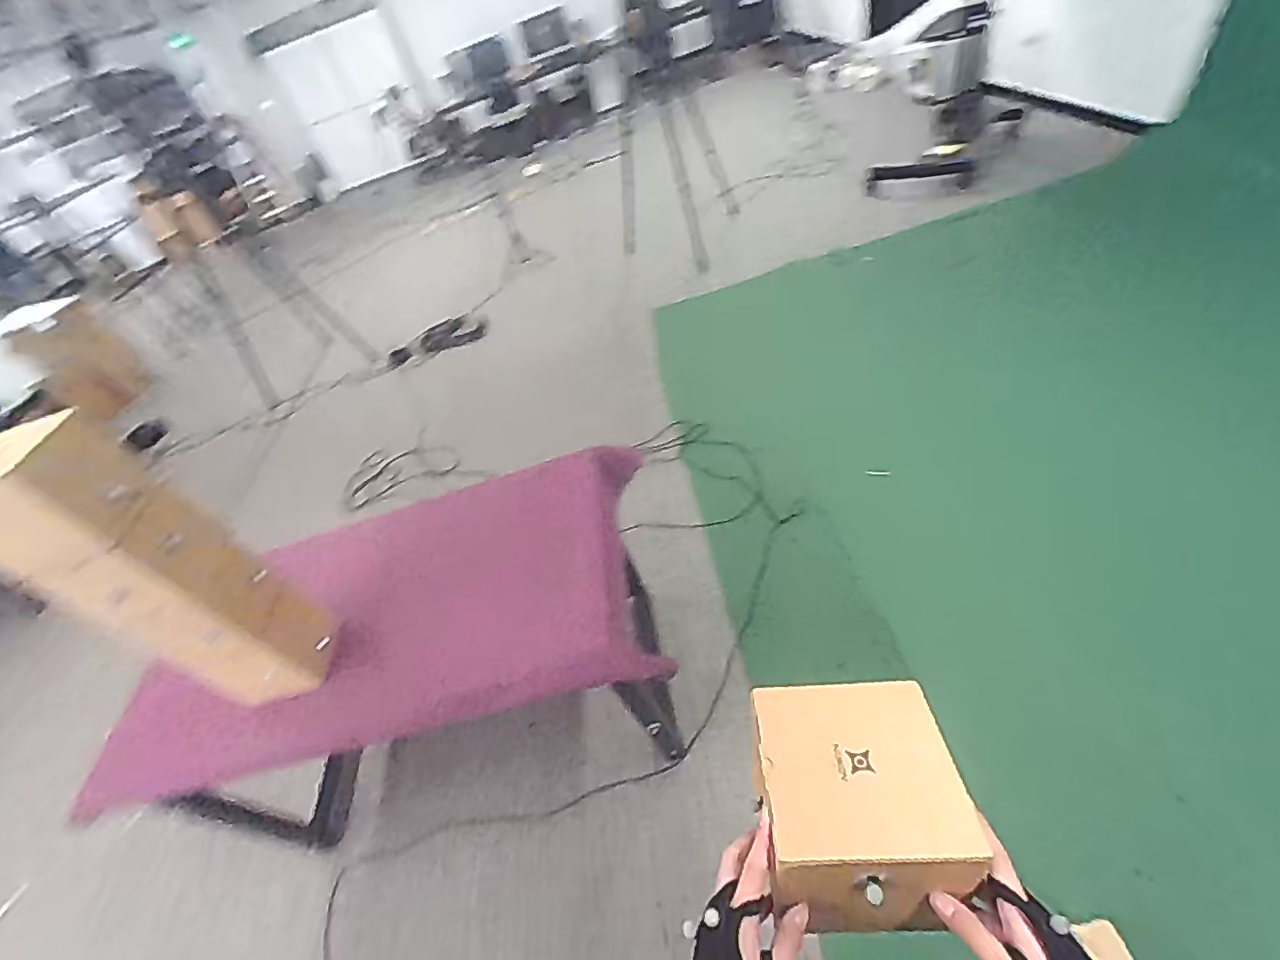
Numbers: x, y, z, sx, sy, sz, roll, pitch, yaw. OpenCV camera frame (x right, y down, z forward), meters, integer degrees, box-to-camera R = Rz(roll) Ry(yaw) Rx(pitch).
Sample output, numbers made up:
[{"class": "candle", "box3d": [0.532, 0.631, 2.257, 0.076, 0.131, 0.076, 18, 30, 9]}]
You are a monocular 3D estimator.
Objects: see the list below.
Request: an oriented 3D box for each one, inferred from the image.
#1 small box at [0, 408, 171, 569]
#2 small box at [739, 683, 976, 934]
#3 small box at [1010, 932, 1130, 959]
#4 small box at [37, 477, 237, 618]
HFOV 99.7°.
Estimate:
[{"class": "small box", "box3d": [-0.926, 0.018, 0.862, 0.179, 0.176, 0.168, -17, 42, 4]}, {"class": "small box", "box3d": [0.200, 0.334, 0.553, 0.179, 0.176, 0.168, -7, 34, 6]}, {"class": "small box", "box3d": [0.825, 0.964, 0.997, 0.168, 0.176, 0.179, -16, 43, 6]}, {"class": "small box", "box3d": [-0.884, 0.130, 0.976, 0.168, 0.176, 0.179, -17, 43, 4]}]
